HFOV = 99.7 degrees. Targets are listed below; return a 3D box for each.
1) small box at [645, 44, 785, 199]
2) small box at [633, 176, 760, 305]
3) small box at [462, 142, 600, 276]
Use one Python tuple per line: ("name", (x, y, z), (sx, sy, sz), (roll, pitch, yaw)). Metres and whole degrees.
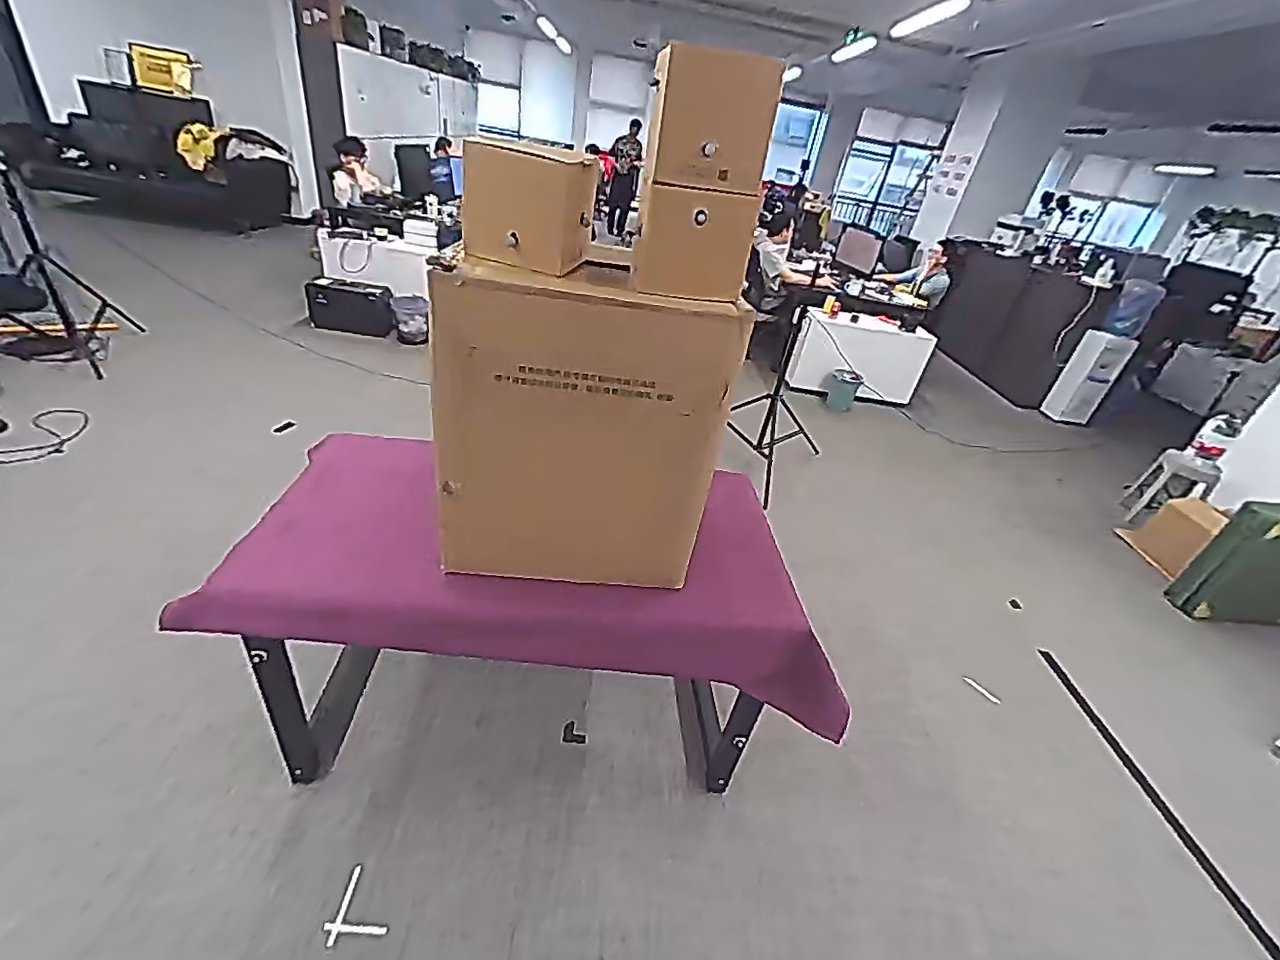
("small box", (0.103, -0.546, 0.836), (0.168, 0.176, 0.179), (3, 34, -7))
("small box", (0.084, -0.407, 0.923), (0.179, 0.176, 0.168), (4, 33, -8))
("small box", (-0.182, -0.456, 0.915), (0.179, 0.176, 0.168), (15, 34, 4))
